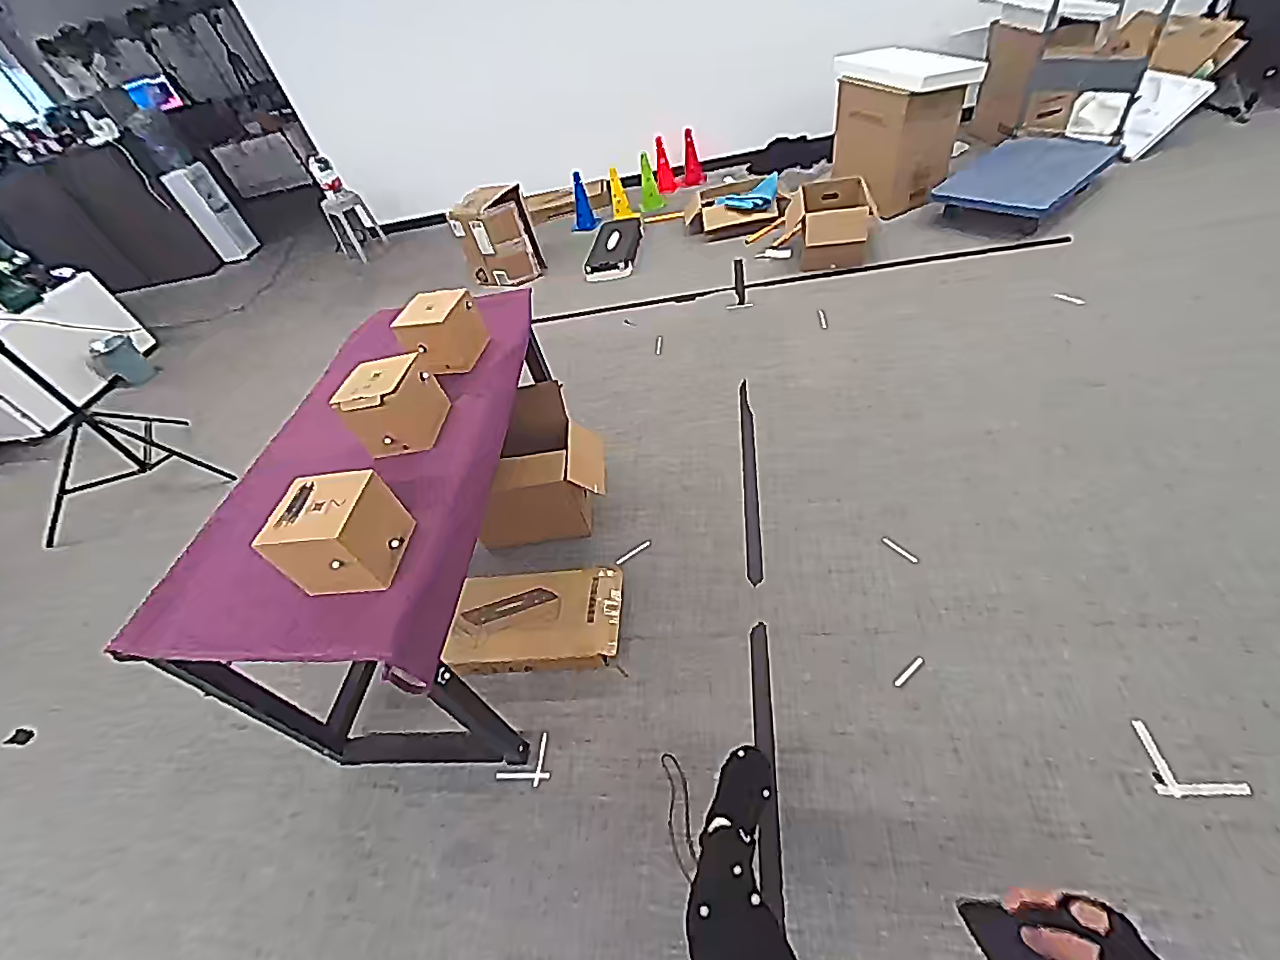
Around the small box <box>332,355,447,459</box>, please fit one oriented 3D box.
[{"bbox_3d":[-0.596,-0.175,1.317,0.168,0.176,0.179,-8,46,12],"label":"small box"}]

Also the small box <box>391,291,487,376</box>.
[{"bbox_3d":[-0.558,-0.408,1.531,0.168,0.176,0.179,-1,47,15],"label":"small box"}]
